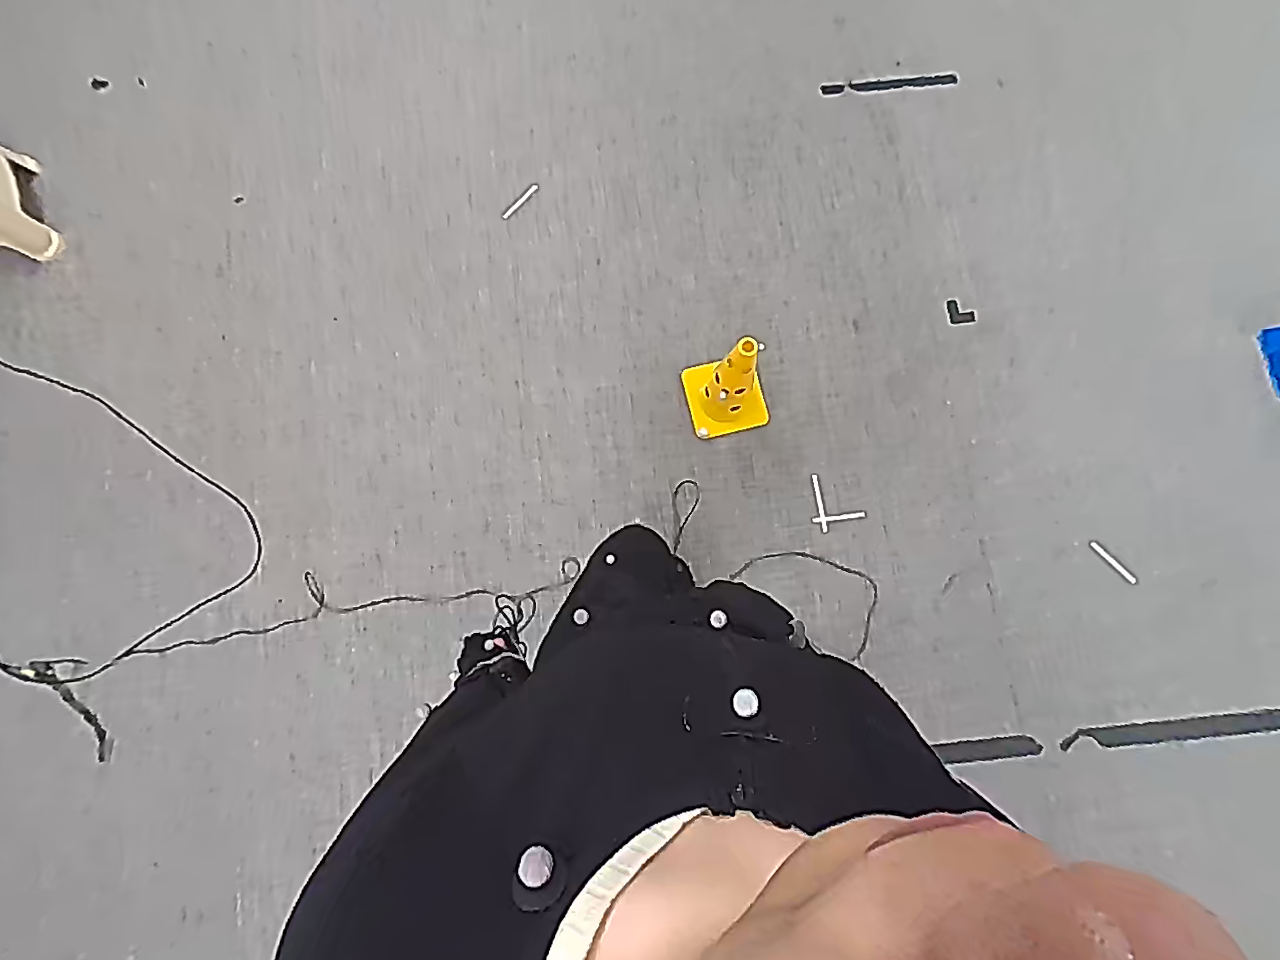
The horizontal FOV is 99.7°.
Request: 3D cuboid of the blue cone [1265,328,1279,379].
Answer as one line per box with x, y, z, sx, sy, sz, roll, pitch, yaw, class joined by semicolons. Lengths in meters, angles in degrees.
1.761;-0.345;1.264;0.193;0.380;0.192;-6;80;0;blue cone
